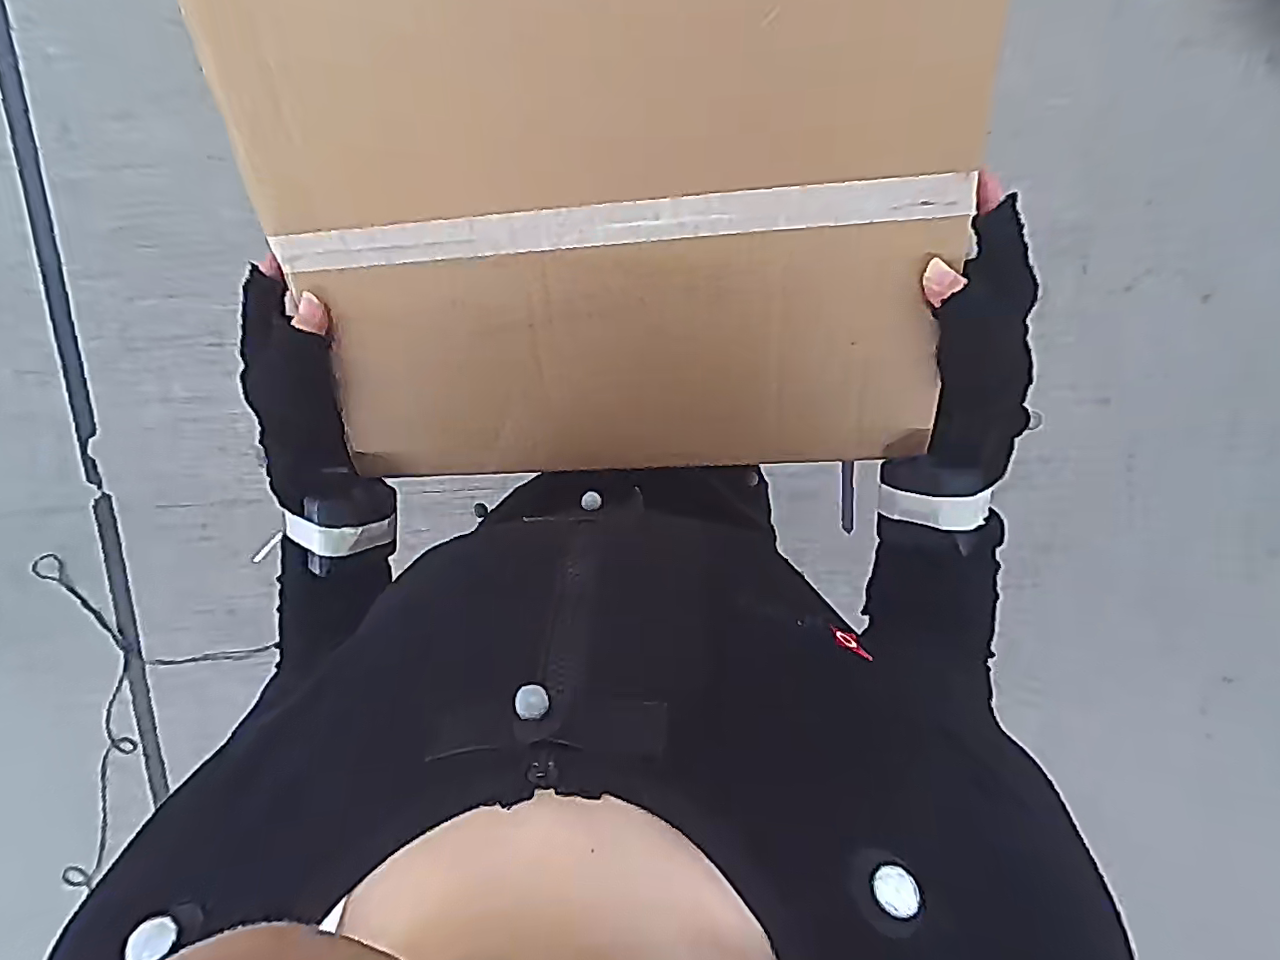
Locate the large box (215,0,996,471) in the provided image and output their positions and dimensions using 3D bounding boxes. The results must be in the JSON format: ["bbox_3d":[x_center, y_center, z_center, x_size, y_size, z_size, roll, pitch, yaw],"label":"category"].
[{"bbox_3d":[-0.008,-0.221,0.454,0.408,0.320,0.320,-2,120,5],"label":"large box"}]
